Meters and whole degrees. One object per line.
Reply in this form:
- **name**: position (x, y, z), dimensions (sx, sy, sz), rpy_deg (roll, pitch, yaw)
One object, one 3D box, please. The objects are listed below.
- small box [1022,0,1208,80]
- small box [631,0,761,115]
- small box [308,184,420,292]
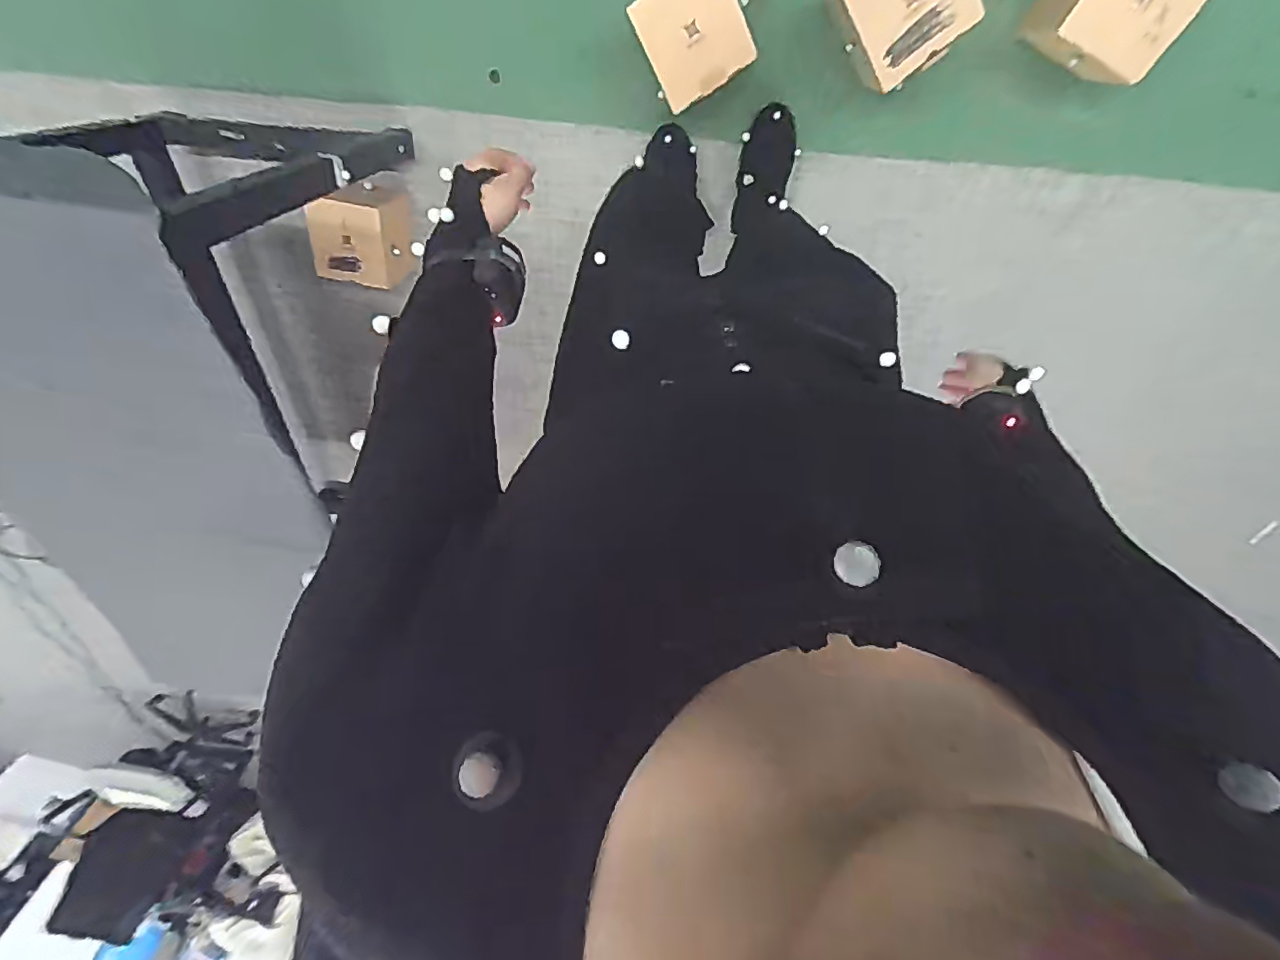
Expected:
- **small box**: position (0.786, -0.795, 0.889), dimensions (0.179, 0.176, 0.168), rpy_deg (21, 130, -11)
- **small box**: position (0.102, -0.802, 0.974), dimensions (0.168, 0.176, 0.179), rpy_deg (-23, 124, 24)
- **small box**: position (-0.631, -0.567, 1.262), dimensions (0.168, 0.176, 0.179), rpy_deg (10, 130, -2)
